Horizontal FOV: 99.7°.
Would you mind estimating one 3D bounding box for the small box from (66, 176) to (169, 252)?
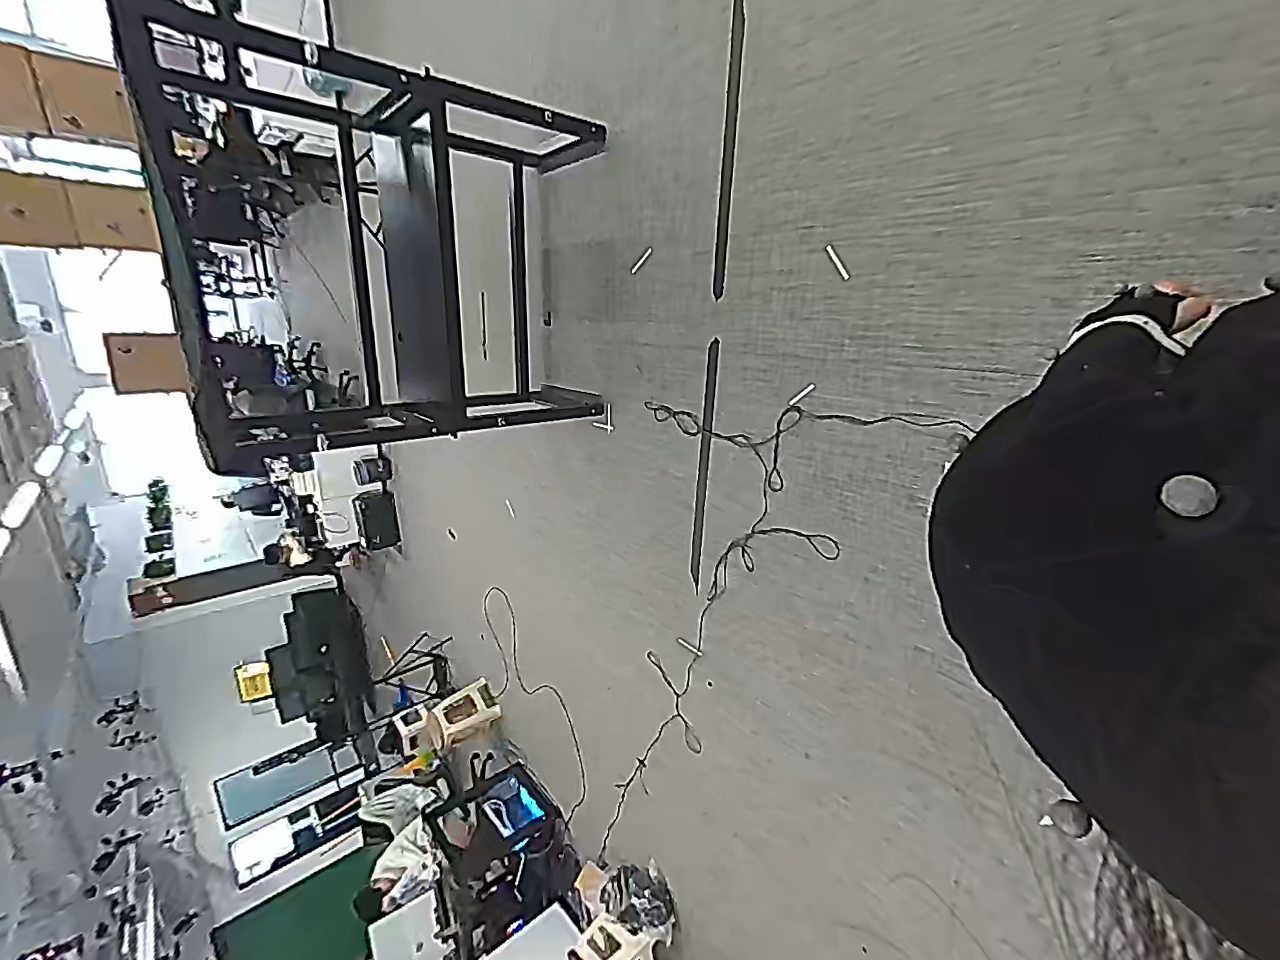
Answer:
[{"bbox_3d":[-1.415,-0.721,1.476,0.179,0.176,0.168,26,119,46],"label":"small box"}]

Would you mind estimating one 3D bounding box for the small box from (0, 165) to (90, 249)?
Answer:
[{"bbox_3d":[-1.537,-0.689,1.369,0.168,0.176,0.179,27,121,47],"label":"small box"}]

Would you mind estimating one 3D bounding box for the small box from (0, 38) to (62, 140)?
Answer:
[{"bbox_3d":[-1.519,-0.933,1.280,0.168,0.176,0.179,24,119,48],"label":"small box"}]

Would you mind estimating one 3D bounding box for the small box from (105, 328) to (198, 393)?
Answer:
[{"bbox_3d":[-1.413,-0.349,1.572,0.168,0.176,0.179,16,112,50],"label":"small box"}]
